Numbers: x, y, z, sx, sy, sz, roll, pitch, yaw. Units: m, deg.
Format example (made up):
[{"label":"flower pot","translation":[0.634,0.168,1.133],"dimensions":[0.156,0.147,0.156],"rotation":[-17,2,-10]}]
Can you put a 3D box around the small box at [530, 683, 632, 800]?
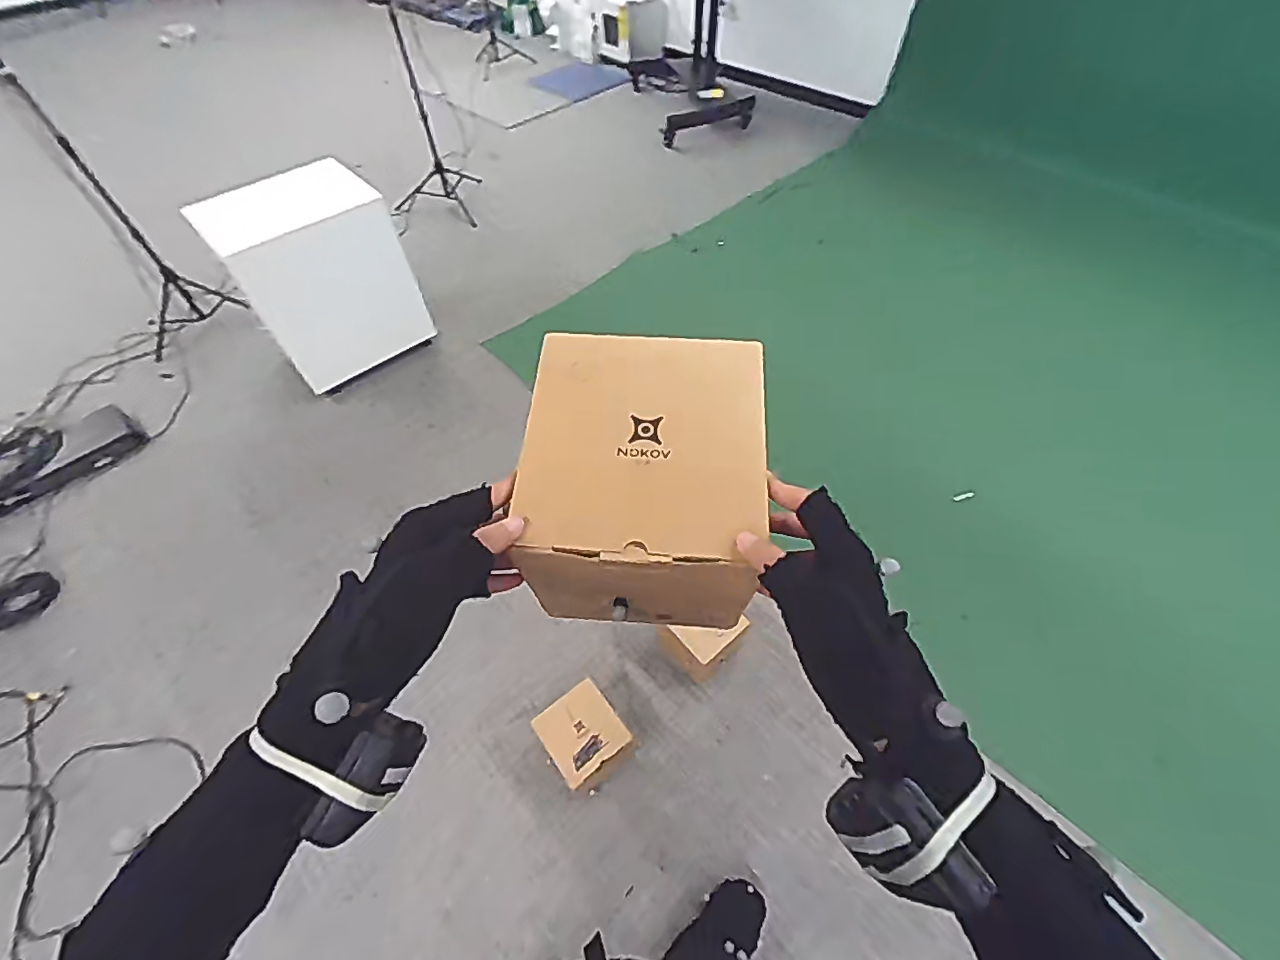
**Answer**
[{"label":"small box","translation":[-0.130,0.614,1.258],"dimensions":[0.168,0.176,0.179],"rotation":[-33,58,-22]}]
